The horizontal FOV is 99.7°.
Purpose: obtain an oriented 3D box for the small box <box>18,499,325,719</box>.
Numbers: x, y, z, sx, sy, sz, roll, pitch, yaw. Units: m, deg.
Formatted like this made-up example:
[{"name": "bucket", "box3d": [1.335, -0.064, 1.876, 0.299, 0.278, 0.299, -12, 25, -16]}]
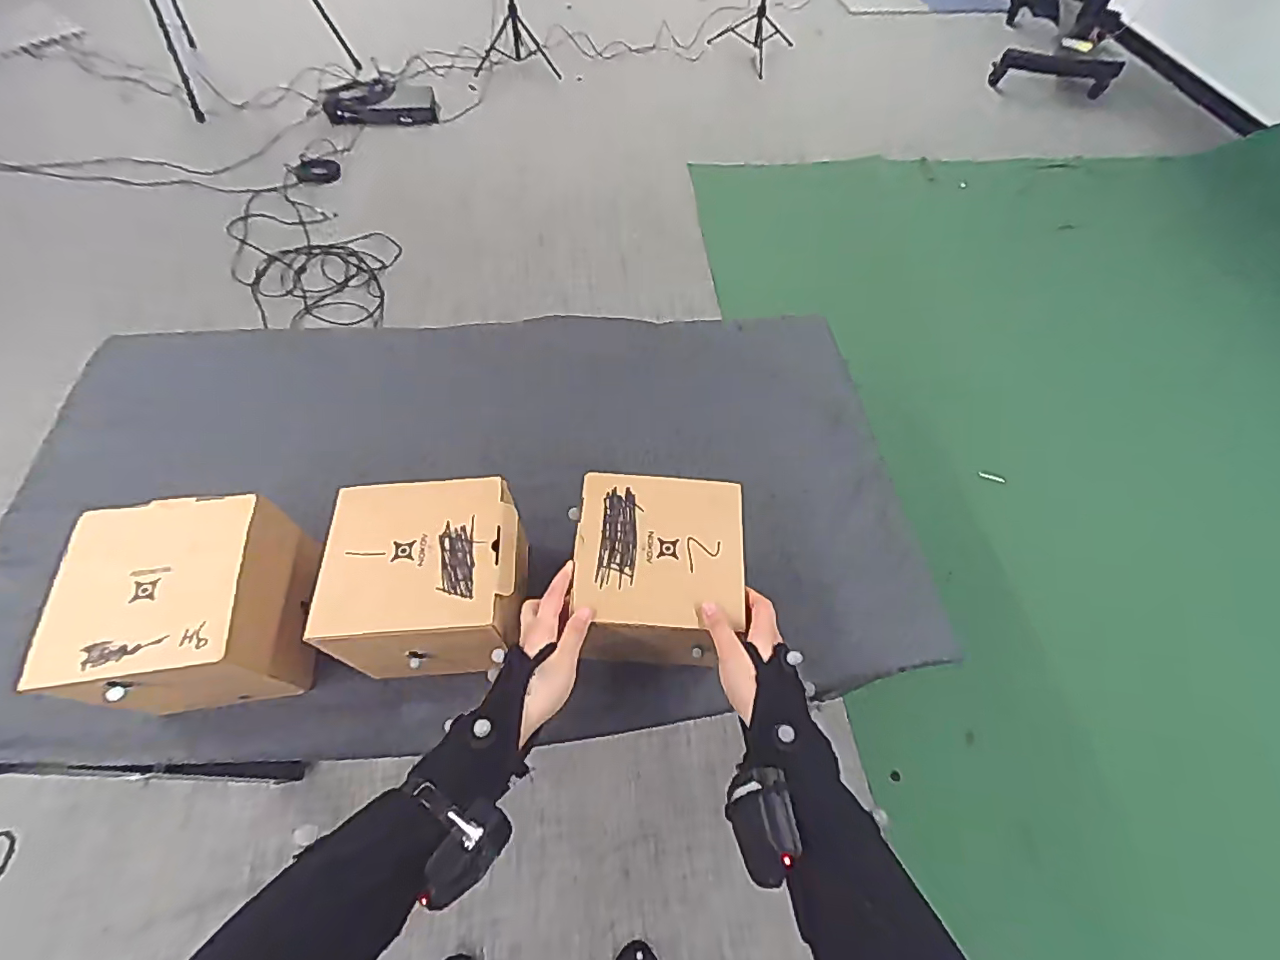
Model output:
[{"name": "small box", "box3d": [-0.468, 0.143, 0.582, 0.168, 0.176, 0.179, -7, 59, -6]}]
